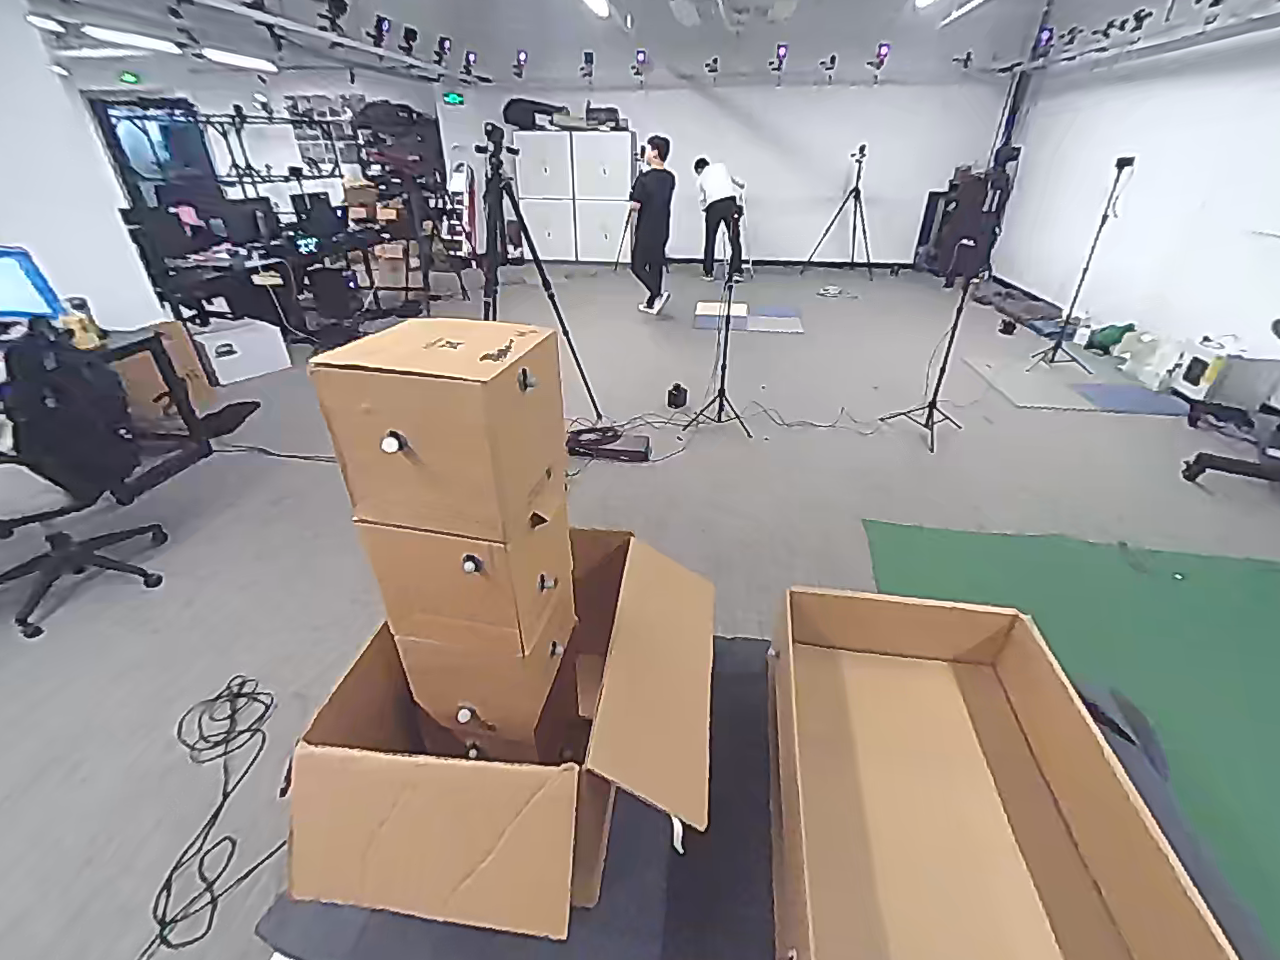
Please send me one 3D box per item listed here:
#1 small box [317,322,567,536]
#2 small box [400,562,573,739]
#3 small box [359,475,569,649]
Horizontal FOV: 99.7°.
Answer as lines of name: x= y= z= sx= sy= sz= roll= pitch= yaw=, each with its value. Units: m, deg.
small box: x=-0.187 y=-0.059 z=0.569 sx=0.179 sy=0.176 sz=0.168 roll=7 pitch=32 yaw=10
small box: x=-0.194 y=0.217 z=0.744 sx=0.168 sy=0.176 sz=0.179 roll=6 pitch=34 yaw=9
small box: x=-0.196 y=0.081 z=0.656 sx=0.179 sy=0.176 sz=0.168 roll=7 pitch=32 yaw=10
